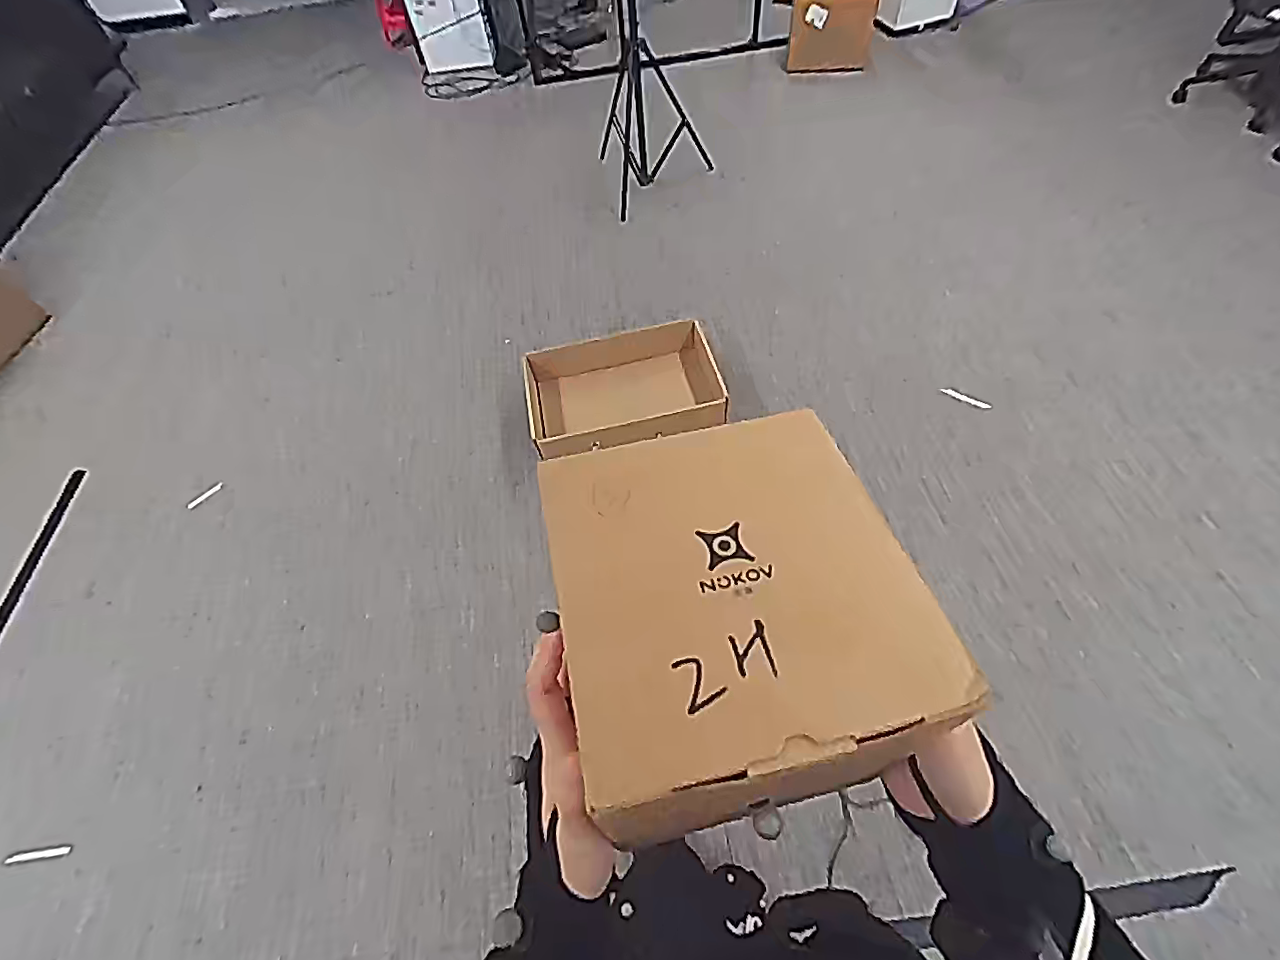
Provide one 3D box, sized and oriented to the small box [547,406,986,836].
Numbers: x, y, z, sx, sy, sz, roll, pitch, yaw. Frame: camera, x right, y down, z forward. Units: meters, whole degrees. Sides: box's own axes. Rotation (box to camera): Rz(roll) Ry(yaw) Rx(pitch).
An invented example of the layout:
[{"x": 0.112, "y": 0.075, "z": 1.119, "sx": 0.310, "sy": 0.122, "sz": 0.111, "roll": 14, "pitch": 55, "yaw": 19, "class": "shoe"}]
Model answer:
[{"x": 0.046, "y": 0.085, "z": 0.323, "sx": 0.168, "sy": 0.176, "sz": 0.179, "roll": -12, "pitch": 52, "yaw": -7, "class": "small box"}]
